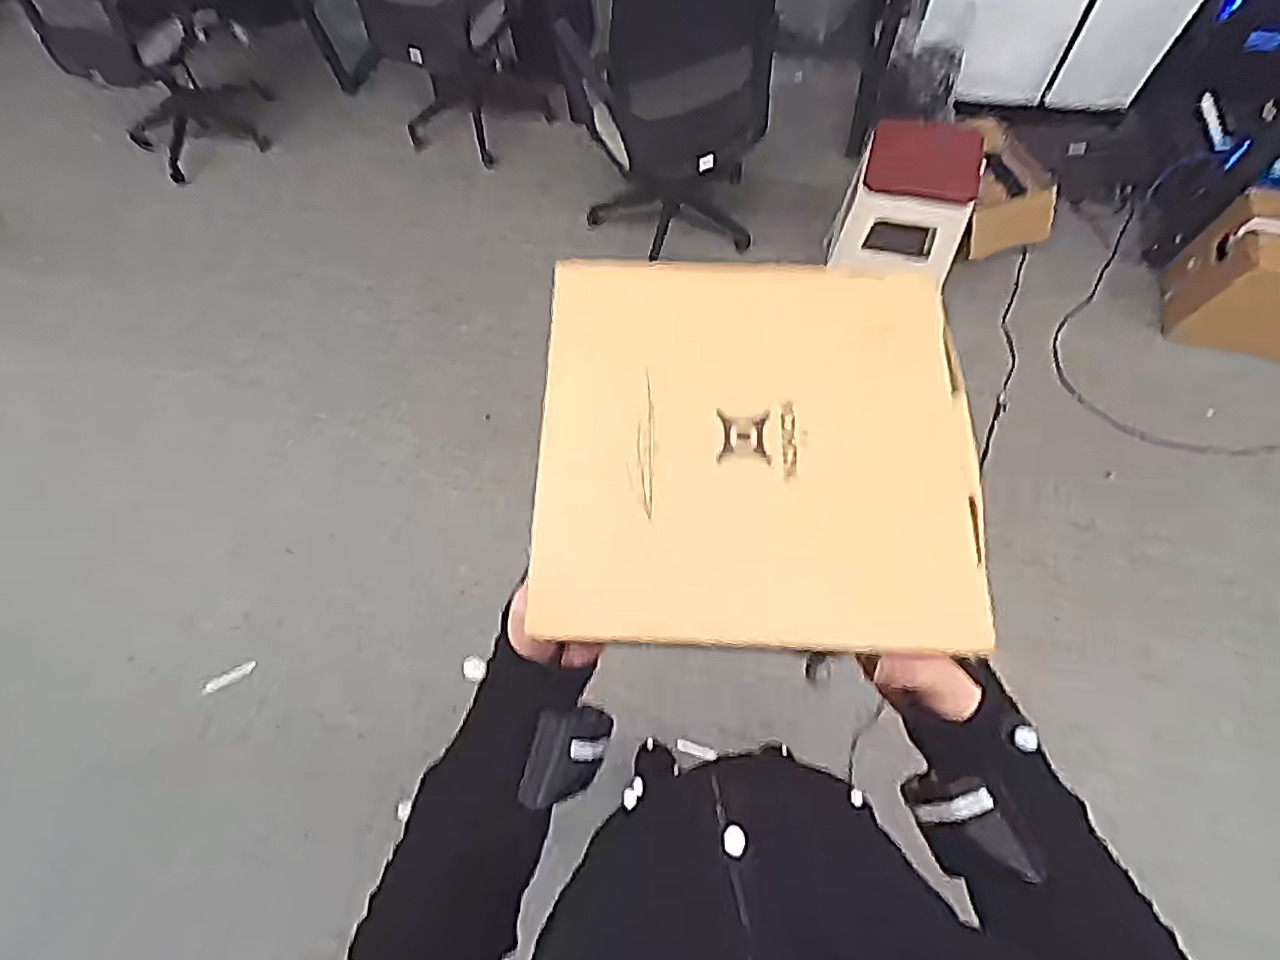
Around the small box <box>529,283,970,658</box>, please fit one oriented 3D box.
[{"bbox_3d":[0.046,0.011,0.310,0.179,0.176,0.168,1,72,1],"label":"small box"}]
